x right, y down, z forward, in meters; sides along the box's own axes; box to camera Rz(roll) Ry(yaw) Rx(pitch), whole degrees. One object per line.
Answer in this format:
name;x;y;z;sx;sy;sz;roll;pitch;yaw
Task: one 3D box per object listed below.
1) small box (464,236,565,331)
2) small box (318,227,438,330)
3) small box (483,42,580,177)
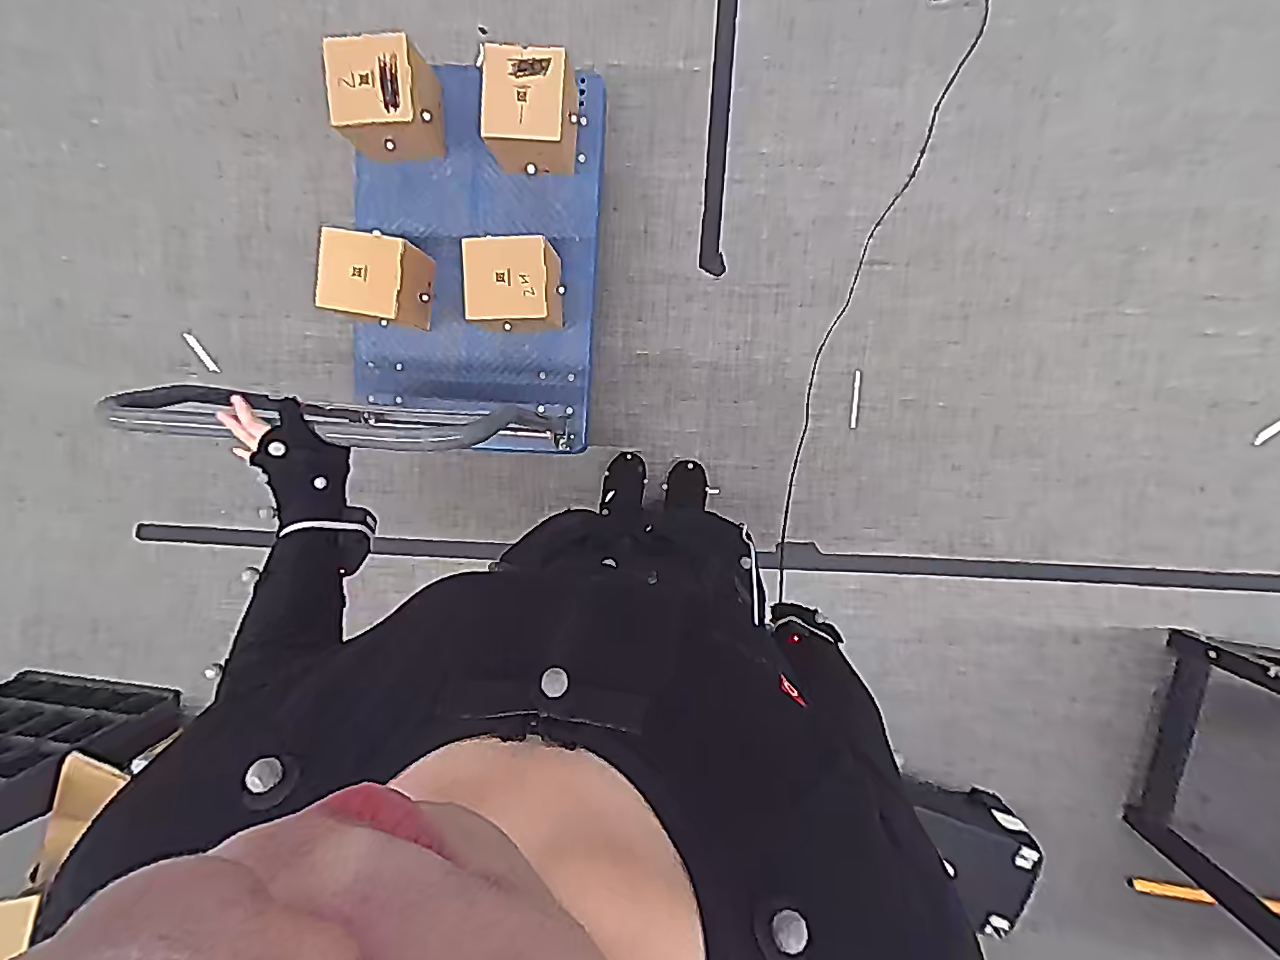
small box;-0.270;-0.425;1.193;0.179;0.176;0.168;0;97;3
small box;-0.578;-0.440;1.208;0.179;0.176;0.168;9;96;0
small box;-0.224;-0.779;1.151;0.168;0.176;0.179;5;98;2
